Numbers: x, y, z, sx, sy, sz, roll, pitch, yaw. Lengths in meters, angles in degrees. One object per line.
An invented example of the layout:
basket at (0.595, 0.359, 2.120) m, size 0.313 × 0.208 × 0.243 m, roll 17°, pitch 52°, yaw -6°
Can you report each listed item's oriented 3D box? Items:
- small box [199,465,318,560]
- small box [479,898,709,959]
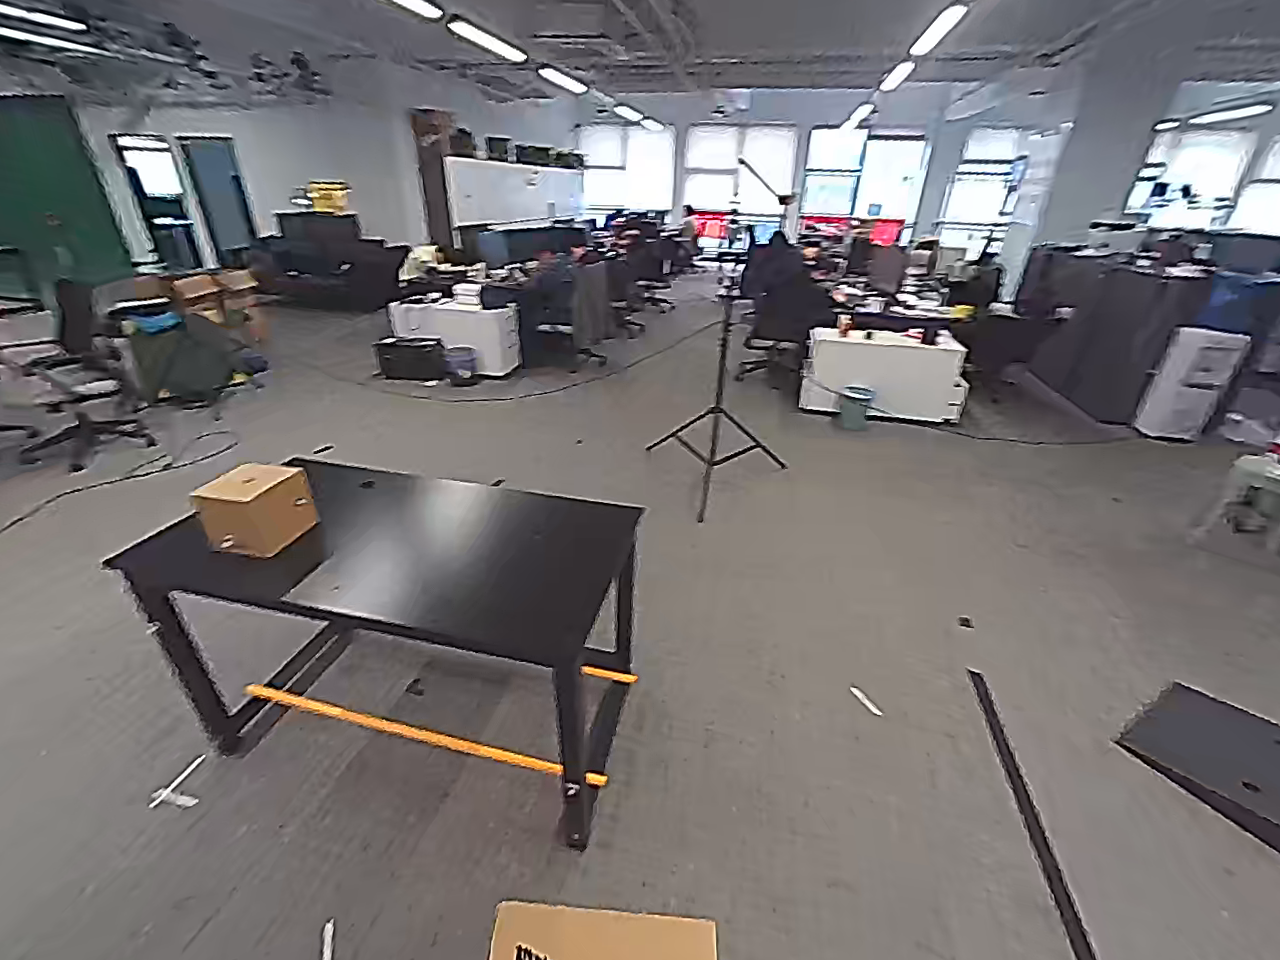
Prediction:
small box at (-0.964, 0.081, 1.389) m, size 0.168 × 0.176 × 0.179 m, roll 5°, pitch 29°, yaw 9°
small box at (-0.041, 0.453, 0.411) m, size 0.179 × 0.176 × 0.168 m, roll 5°, pitch 35°, yaw 0°
